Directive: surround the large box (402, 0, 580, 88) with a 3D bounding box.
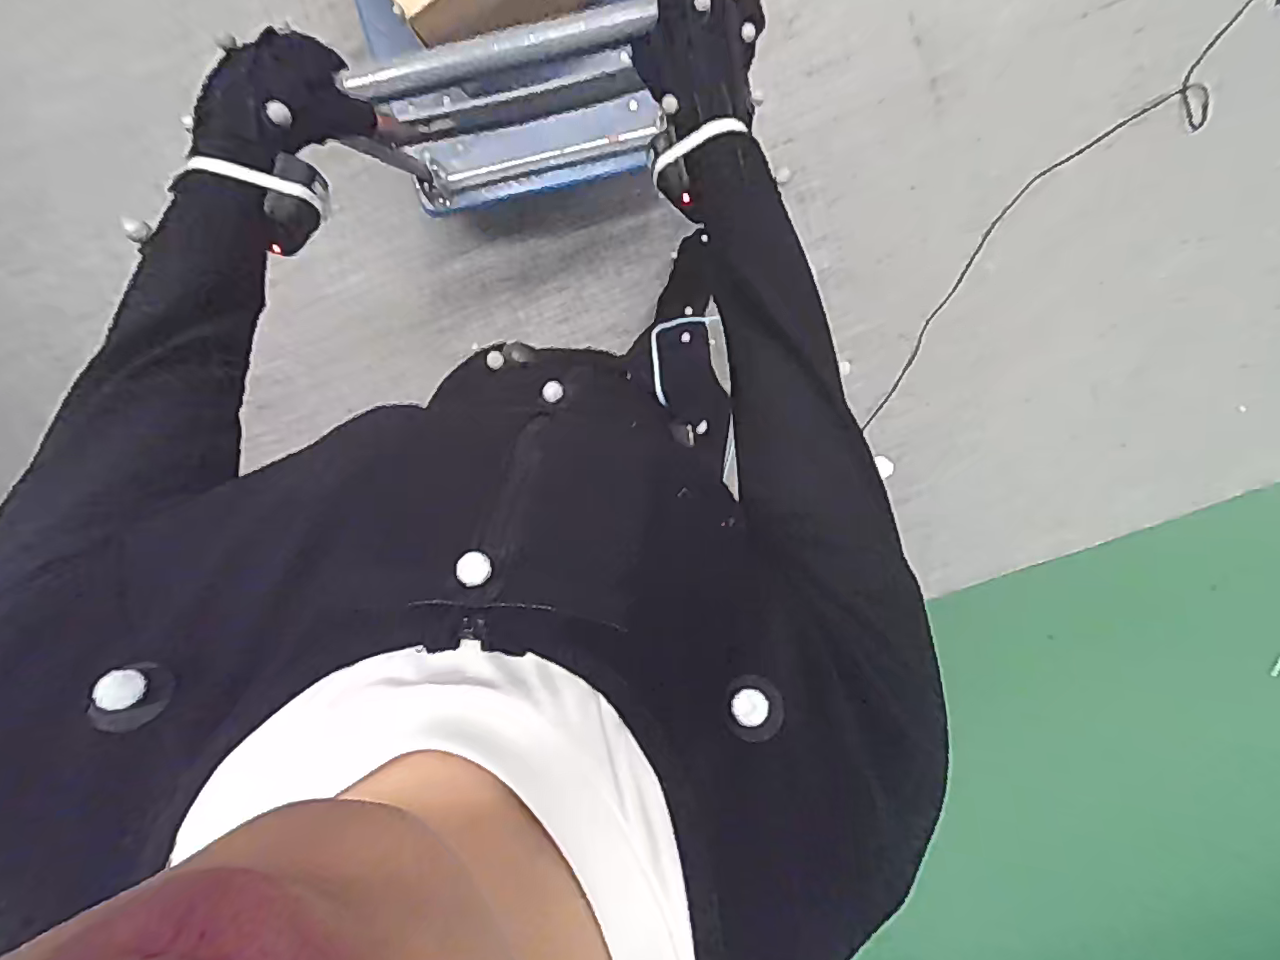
[{"bbox_3d":[-0.235,-0.920,0.823,0.408,0.320,0.320,-32,106,10],"label":"large box"}]
